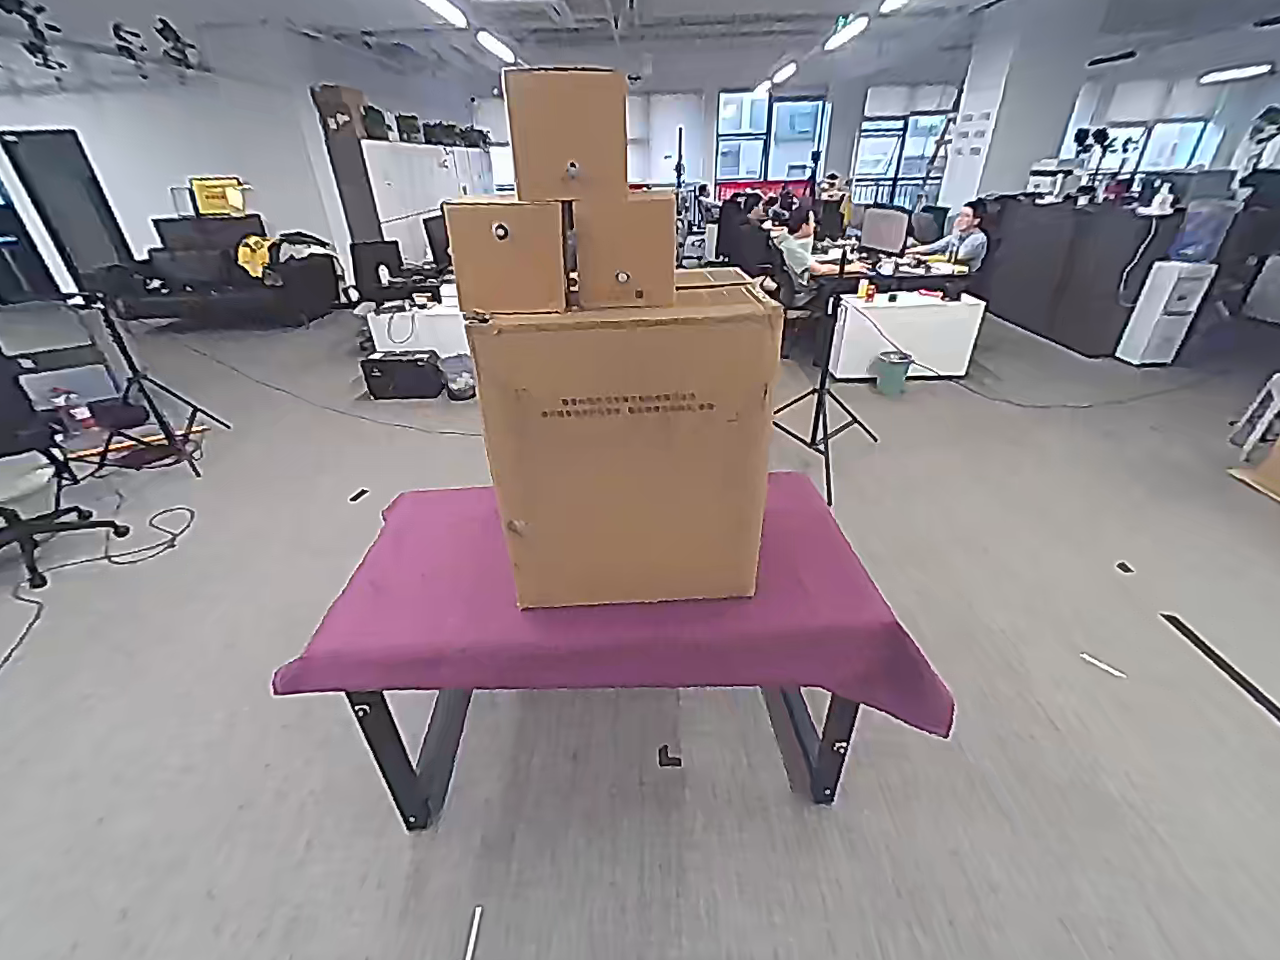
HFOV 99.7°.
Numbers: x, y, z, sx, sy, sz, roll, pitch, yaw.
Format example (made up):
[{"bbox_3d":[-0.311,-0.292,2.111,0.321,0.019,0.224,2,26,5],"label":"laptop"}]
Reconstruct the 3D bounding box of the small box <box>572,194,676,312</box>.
[{"bbox_3d":[-0.024,-0.406,0.961,0.168,0.176,0.179,-2,33,1],"label":"small box"}]

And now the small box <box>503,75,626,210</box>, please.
[{"bbox_3d":[-0.121,-0.539,0.871,0.179,0.176,0.168,-7,32,-10],"label":"small box"}]
